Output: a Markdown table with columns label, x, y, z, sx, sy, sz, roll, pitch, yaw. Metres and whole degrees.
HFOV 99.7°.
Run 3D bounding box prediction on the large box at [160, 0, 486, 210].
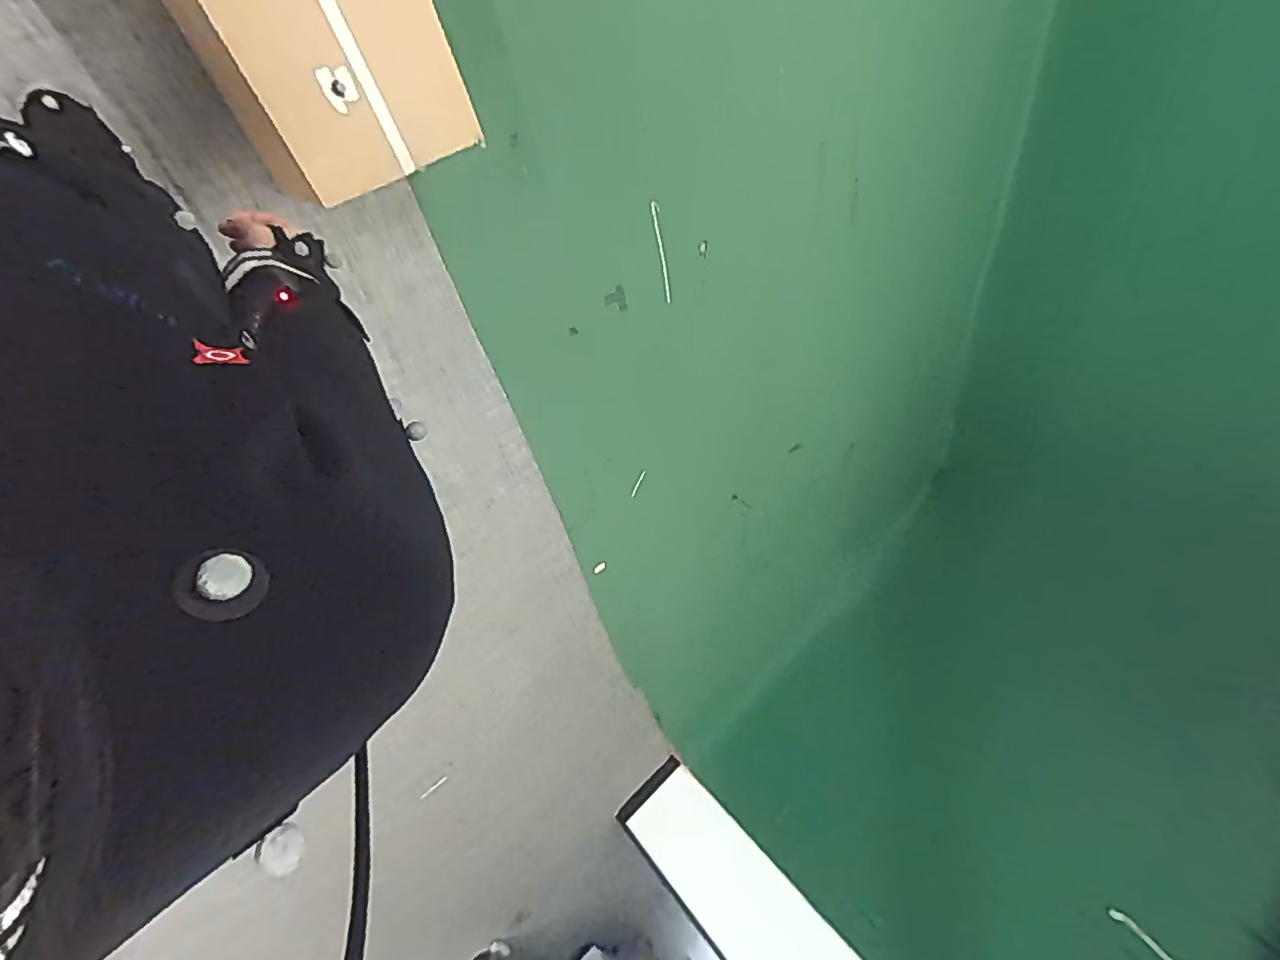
| label | x | y | z | sx | sy | sz | roll | pitch | yaw |
| --- | --- | --- | --- | --- | --- | --- | --- | --- | --- |
| large box | -0.536 | -0.725 | 0.896 | 0.320 | 0.320 | 0.408 | -39 | 136 | -20 |
